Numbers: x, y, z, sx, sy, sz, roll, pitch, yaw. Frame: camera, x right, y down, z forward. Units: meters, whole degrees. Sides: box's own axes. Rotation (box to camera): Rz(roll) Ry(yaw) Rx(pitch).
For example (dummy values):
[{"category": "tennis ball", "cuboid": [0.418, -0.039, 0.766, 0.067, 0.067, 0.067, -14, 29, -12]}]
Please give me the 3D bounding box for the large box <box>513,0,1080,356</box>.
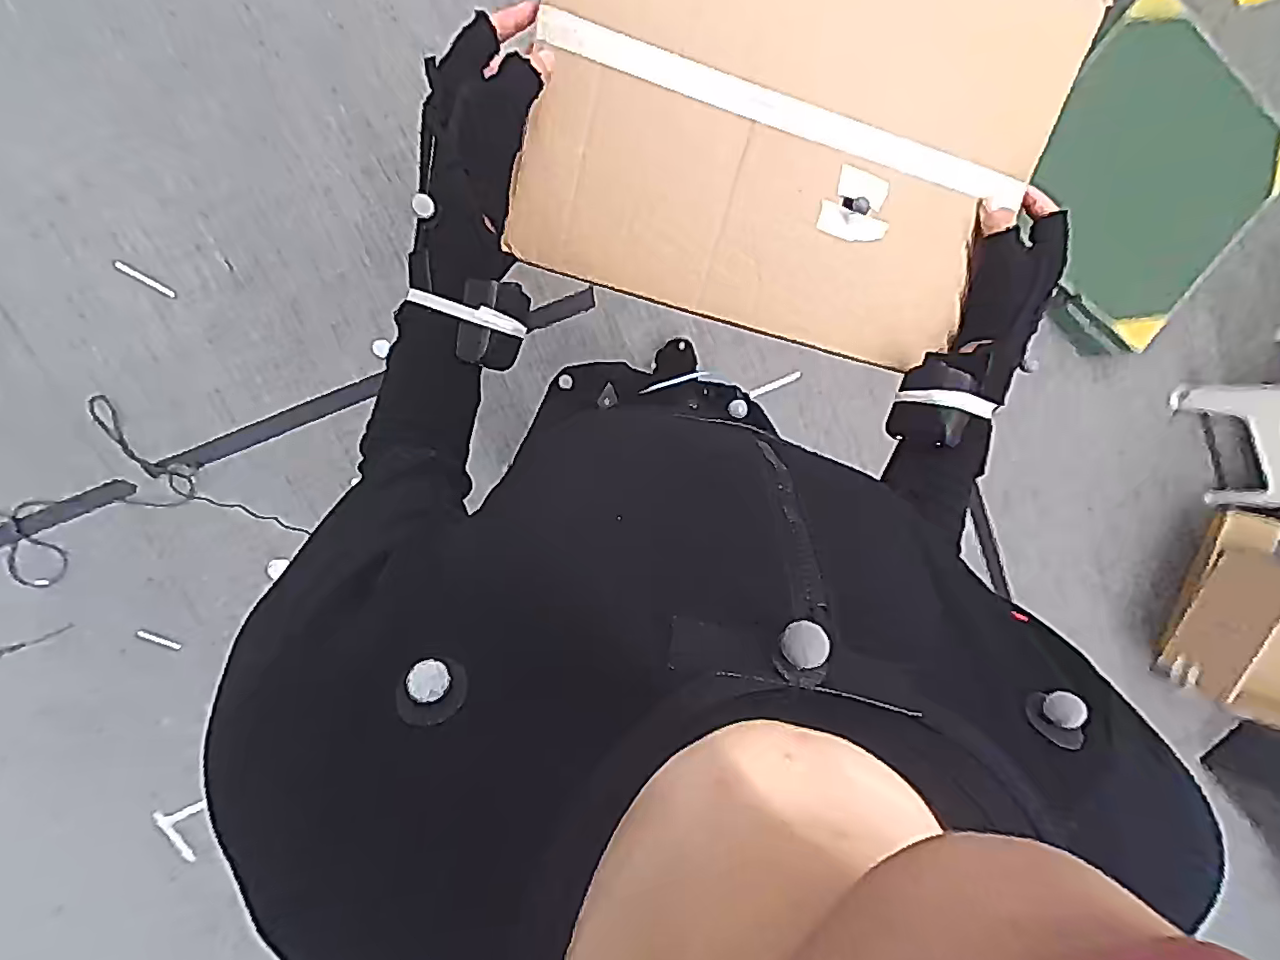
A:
[{"category": "large box", "cuboid": [0.104, -0.346, 0.567, 0.408, 0.320, 0.320, 12, 110, -11]}]
